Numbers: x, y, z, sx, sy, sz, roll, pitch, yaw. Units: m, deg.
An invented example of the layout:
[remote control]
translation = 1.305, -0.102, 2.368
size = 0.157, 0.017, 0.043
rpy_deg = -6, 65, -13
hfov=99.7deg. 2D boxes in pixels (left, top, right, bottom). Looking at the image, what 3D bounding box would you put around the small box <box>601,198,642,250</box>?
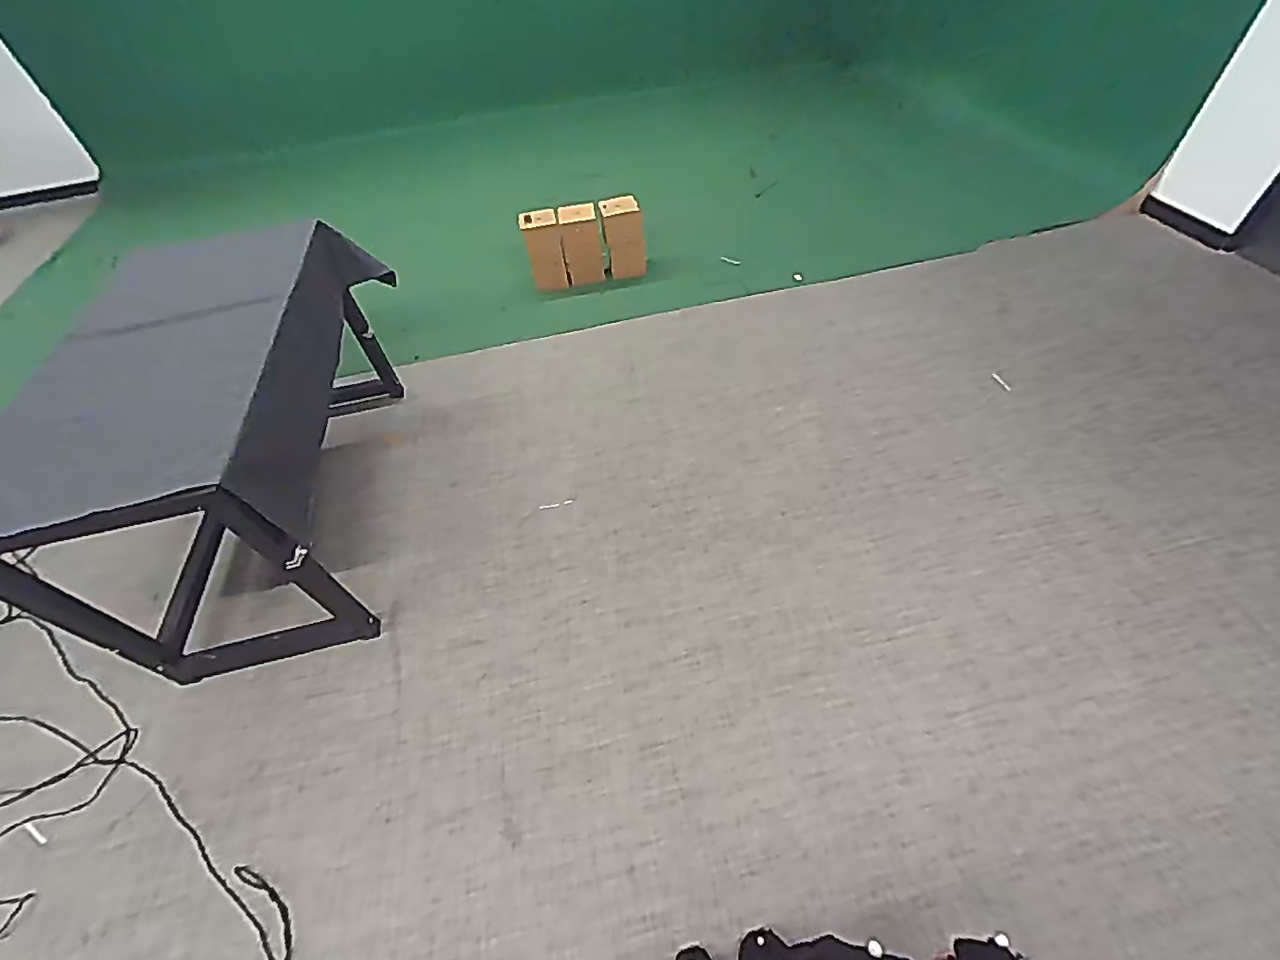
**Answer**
[small box]
translation = -0.089, -1.252, 2.650
size = 0.179, 0.176, 0.168
rpy_deg = -11, 50, -5
